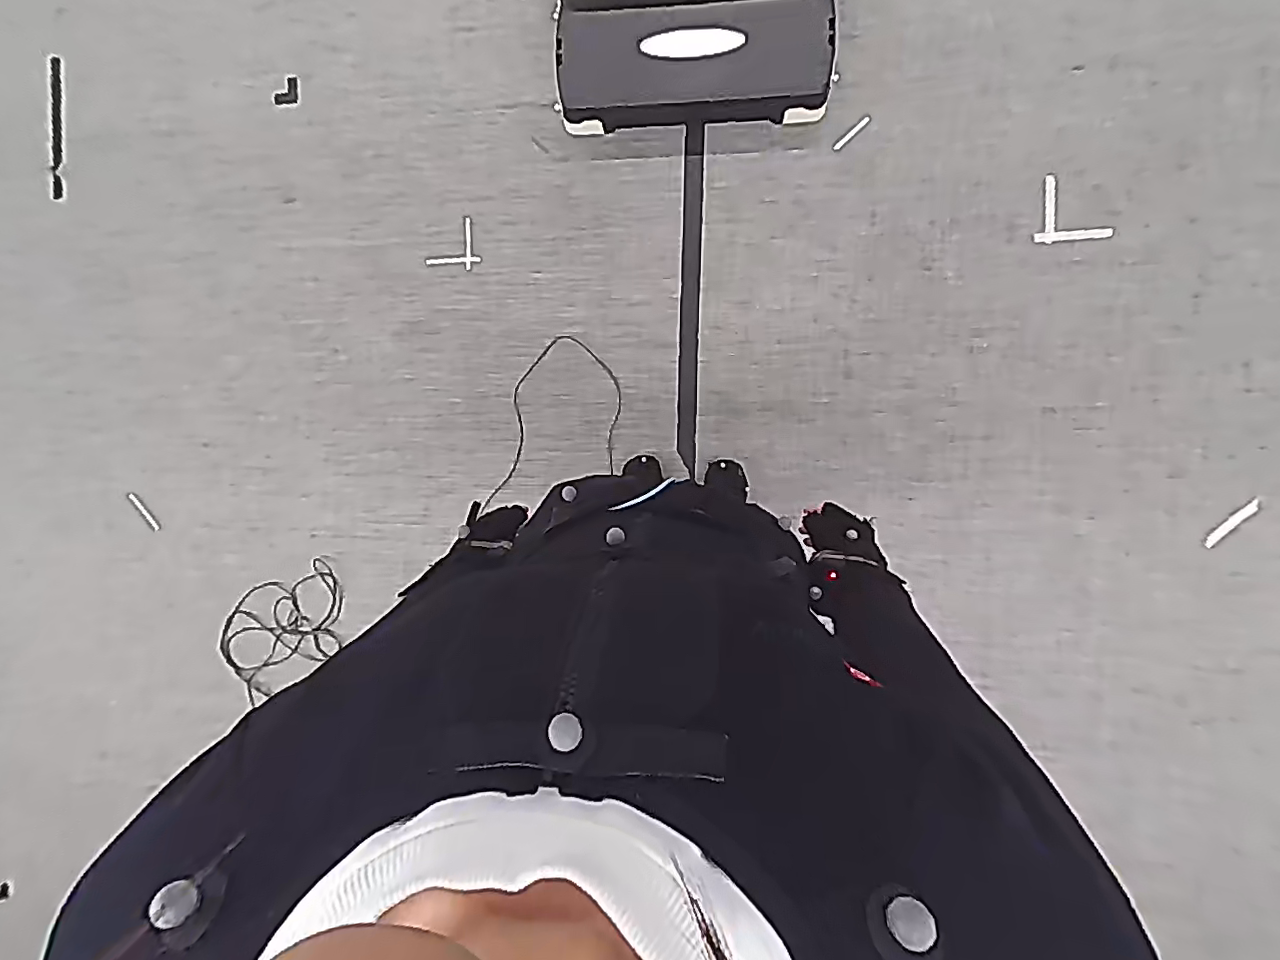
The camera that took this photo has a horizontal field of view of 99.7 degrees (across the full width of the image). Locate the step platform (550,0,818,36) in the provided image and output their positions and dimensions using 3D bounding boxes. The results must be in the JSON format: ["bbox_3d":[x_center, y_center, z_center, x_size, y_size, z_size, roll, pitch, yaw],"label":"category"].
[{"bbox_3d":[0.105,-1.293,1.277,0.684,0.204,0.286,0,93,5],"label":"step platform"}]
